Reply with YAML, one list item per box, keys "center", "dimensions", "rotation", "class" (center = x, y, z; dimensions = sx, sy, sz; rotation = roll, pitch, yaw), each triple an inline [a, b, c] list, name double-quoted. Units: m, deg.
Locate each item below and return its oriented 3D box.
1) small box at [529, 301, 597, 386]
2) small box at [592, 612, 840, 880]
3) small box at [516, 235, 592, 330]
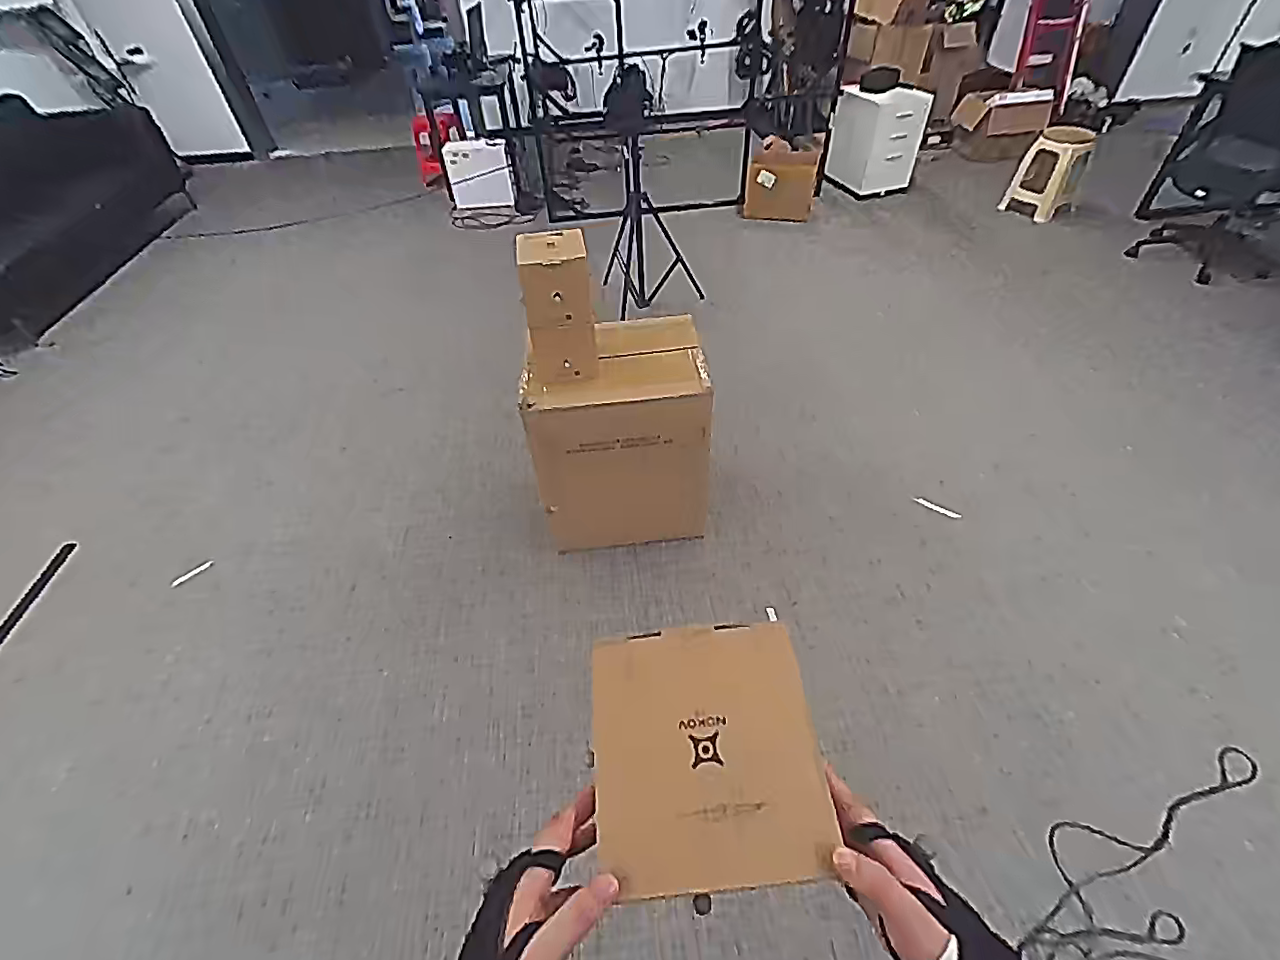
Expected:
- center: [-0.211, -0.383, 1.496]
  dimensions: [0.168, 0.176, 0.179]
  rotation: [-7, 47, -4]
  class: "small box"
- center: [0.050, 0.235, 0.471]
  dimensions: [0.168, 0.176, 0.179]
  rotation: [-6, 54, 0]
  class: "small box"
- center: [-0.218, -0.497, 1.379]
  dimensions: [0.168, 0.176, 0.179]
  rotation: [-8, 47, -5]
  class: "small box"
